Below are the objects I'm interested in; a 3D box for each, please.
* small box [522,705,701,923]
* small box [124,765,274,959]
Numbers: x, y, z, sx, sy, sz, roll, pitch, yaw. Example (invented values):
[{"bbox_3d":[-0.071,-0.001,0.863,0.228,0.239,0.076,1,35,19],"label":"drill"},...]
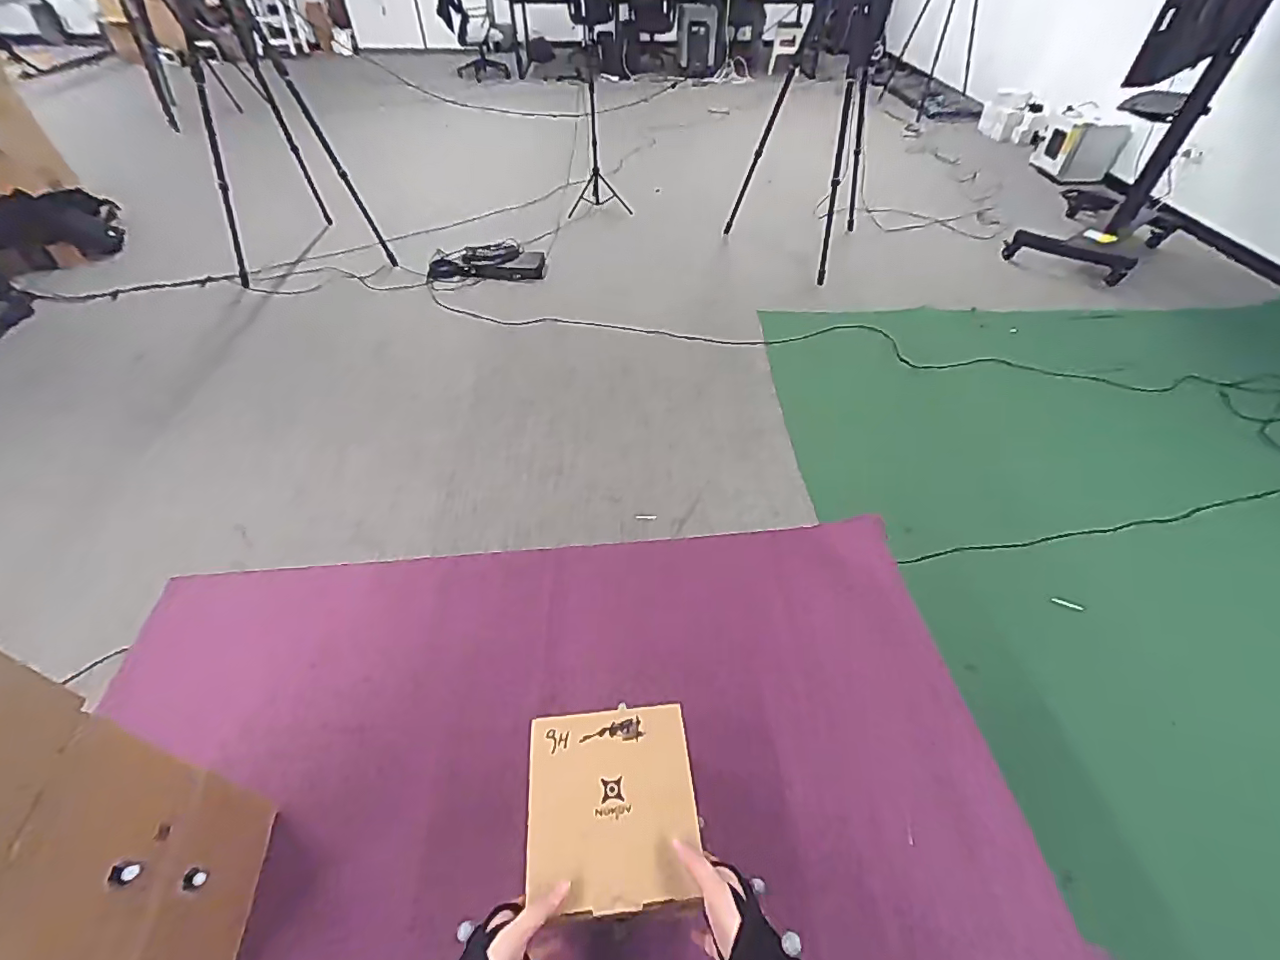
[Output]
[{"bbox_3d":[-0.030,0.371,0.597,0.168,0.176,0.179,-3,48,-4],"label":"small box"},{"bbox_3d":[-0.516,0.415,0.550,0.168,0.176,0.179,-4,47,-6],"label":"small box"}]
